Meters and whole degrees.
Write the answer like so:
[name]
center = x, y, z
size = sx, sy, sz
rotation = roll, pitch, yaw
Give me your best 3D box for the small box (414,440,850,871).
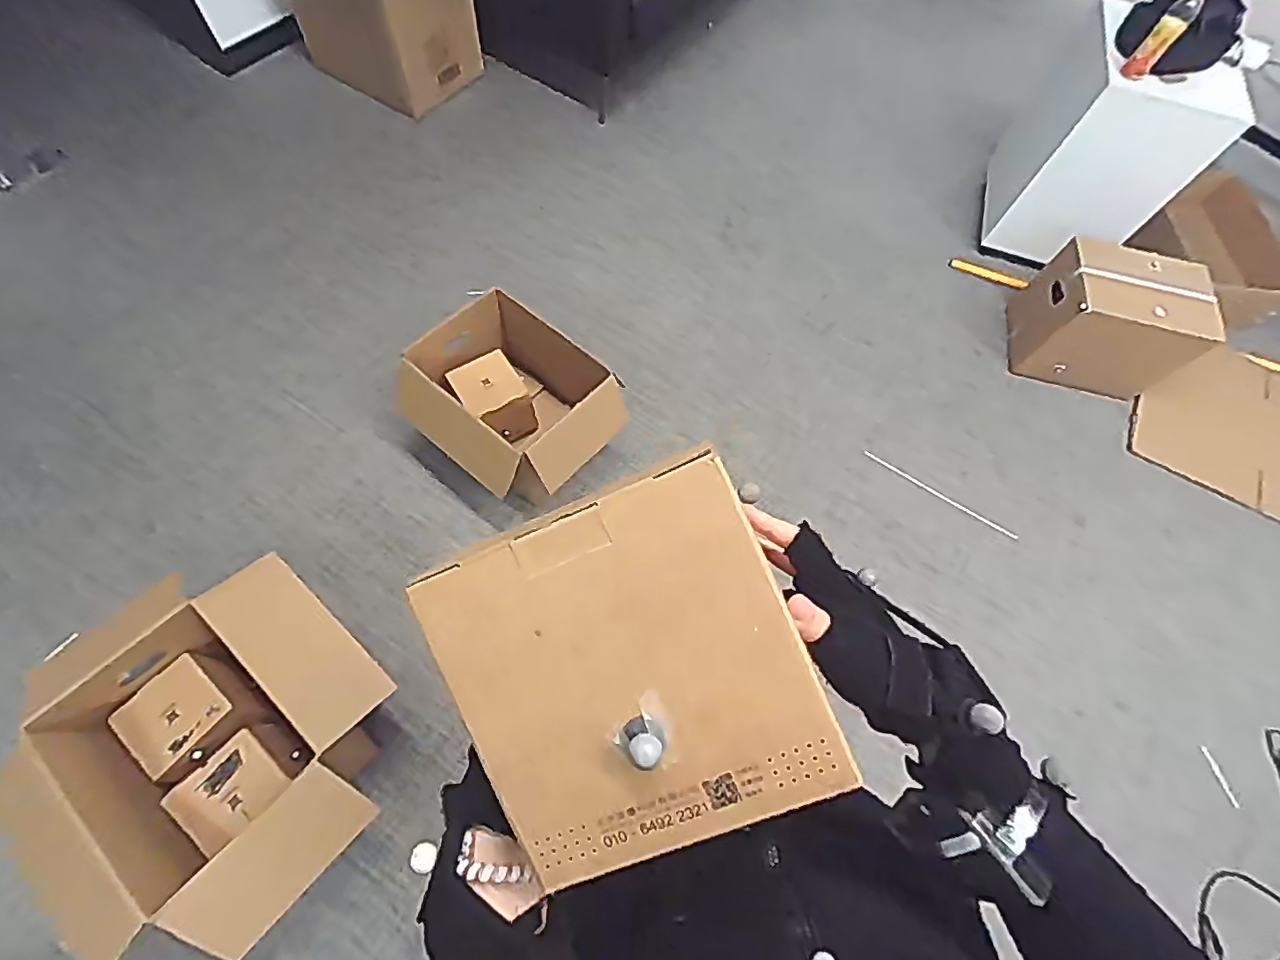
[small box]
center = 0.003, 0.085, 0.336
size = 0.168, 0.179, 0.176
rotation = -24, 92, 7
